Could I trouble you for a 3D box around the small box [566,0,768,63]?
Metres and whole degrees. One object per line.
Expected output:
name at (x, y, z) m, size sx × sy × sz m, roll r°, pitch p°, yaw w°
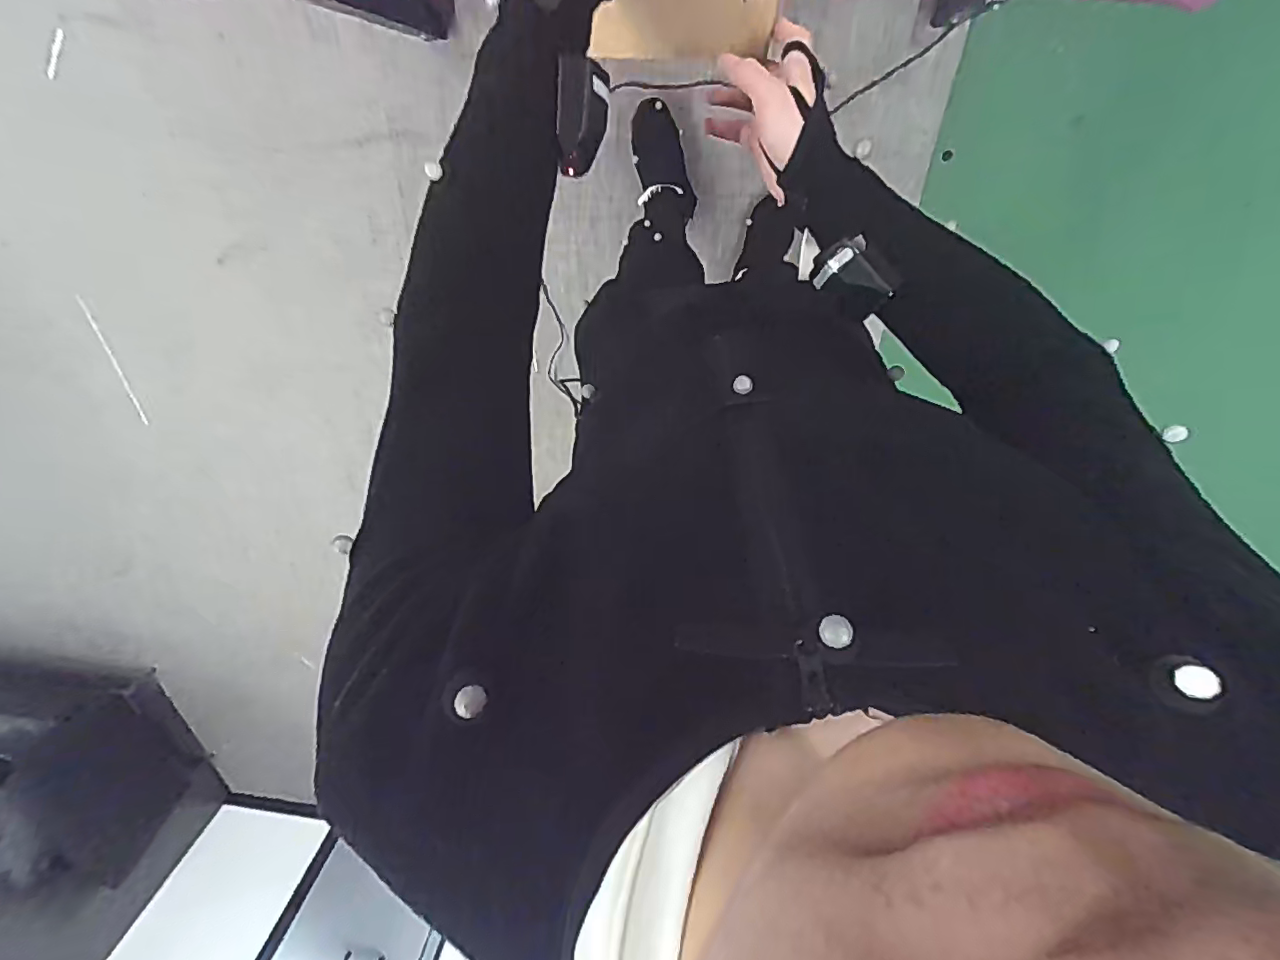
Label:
small box at (0.031, -0.500, 0.468) m, size 0.179 × 0.176 × 0.168 m, roll 4°, pitch 149°, yaw 0°
